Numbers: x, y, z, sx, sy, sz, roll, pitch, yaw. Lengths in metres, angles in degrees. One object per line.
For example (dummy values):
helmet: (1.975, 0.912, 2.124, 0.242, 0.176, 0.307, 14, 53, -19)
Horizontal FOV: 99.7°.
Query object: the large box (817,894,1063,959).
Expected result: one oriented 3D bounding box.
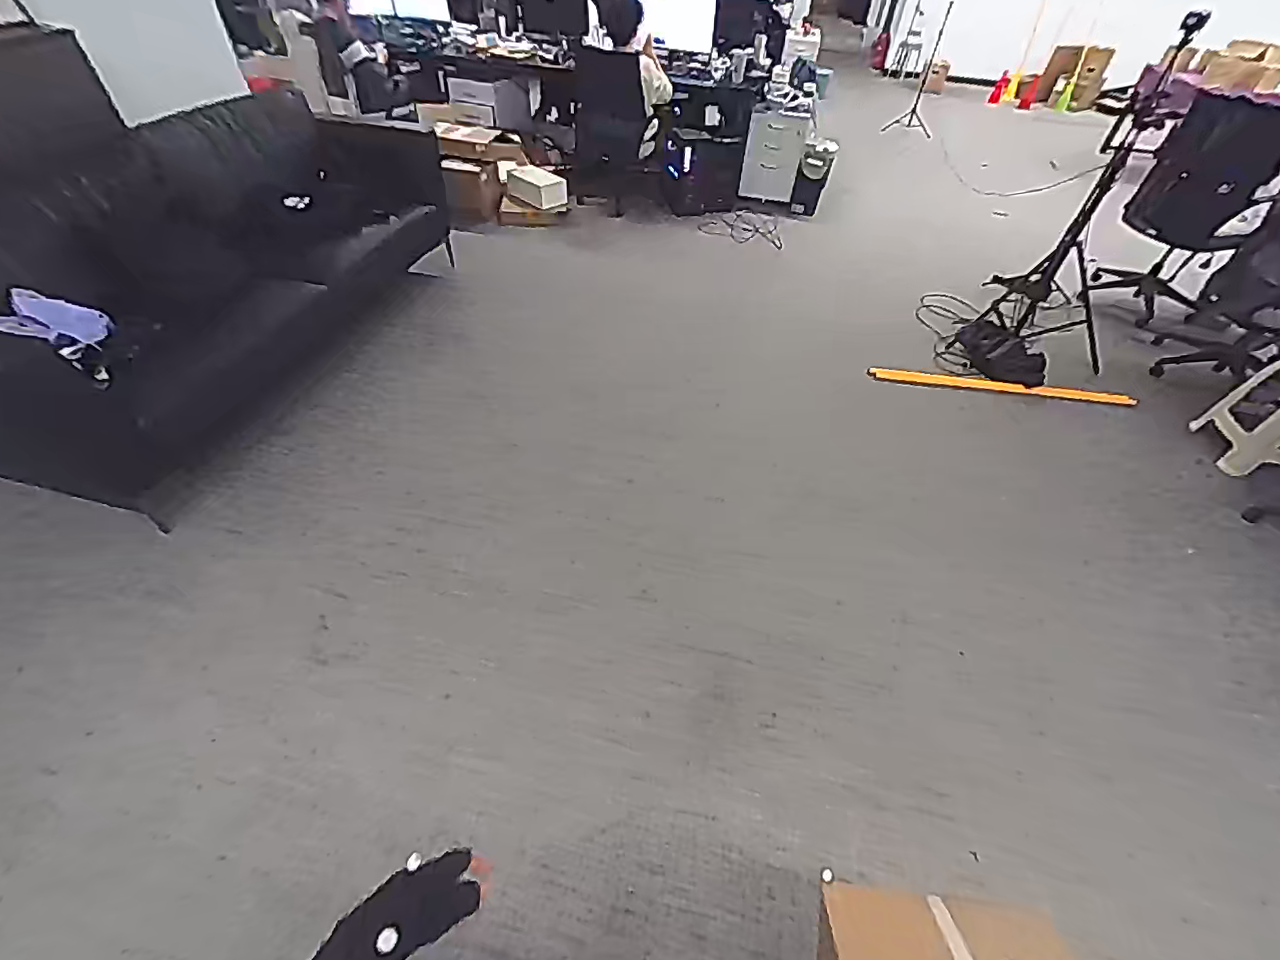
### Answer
large box: (0.392, 0.789, 0.610, 0.320, 0.320, 0.408, 3, 3, 8)
